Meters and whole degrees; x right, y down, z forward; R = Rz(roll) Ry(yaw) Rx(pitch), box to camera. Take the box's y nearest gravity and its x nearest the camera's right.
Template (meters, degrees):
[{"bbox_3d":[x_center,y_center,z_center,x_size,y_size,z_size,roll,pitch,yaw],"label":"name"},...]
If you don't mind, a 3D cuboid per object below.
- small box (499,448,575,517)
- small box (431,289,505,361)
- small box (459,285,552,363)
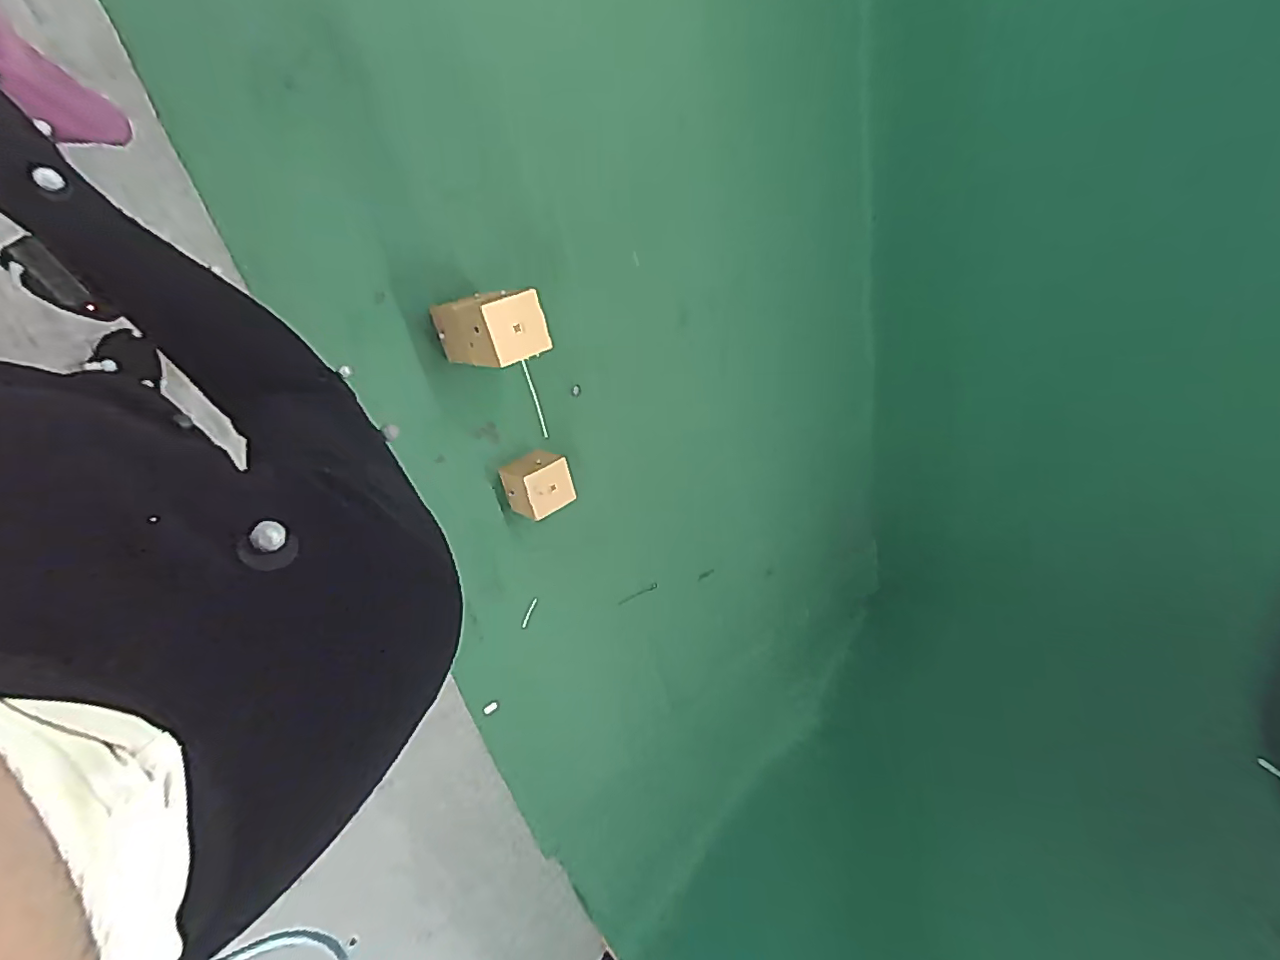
[{"bbox_3d":[-0.357,0.001,1.873,0.179,0.176,0.168,-30,121,-34],"label":"small box"},{"bbox_3d":[-0.490,-0.465,1.618,0.179,0.176,0.168,-32,121,-32],"label":"small box"},{"bbox_3d":[-0.381,-0.432,1.504,0.179,0.176,0.168,-34,122,-34],"label":"small box"}]
